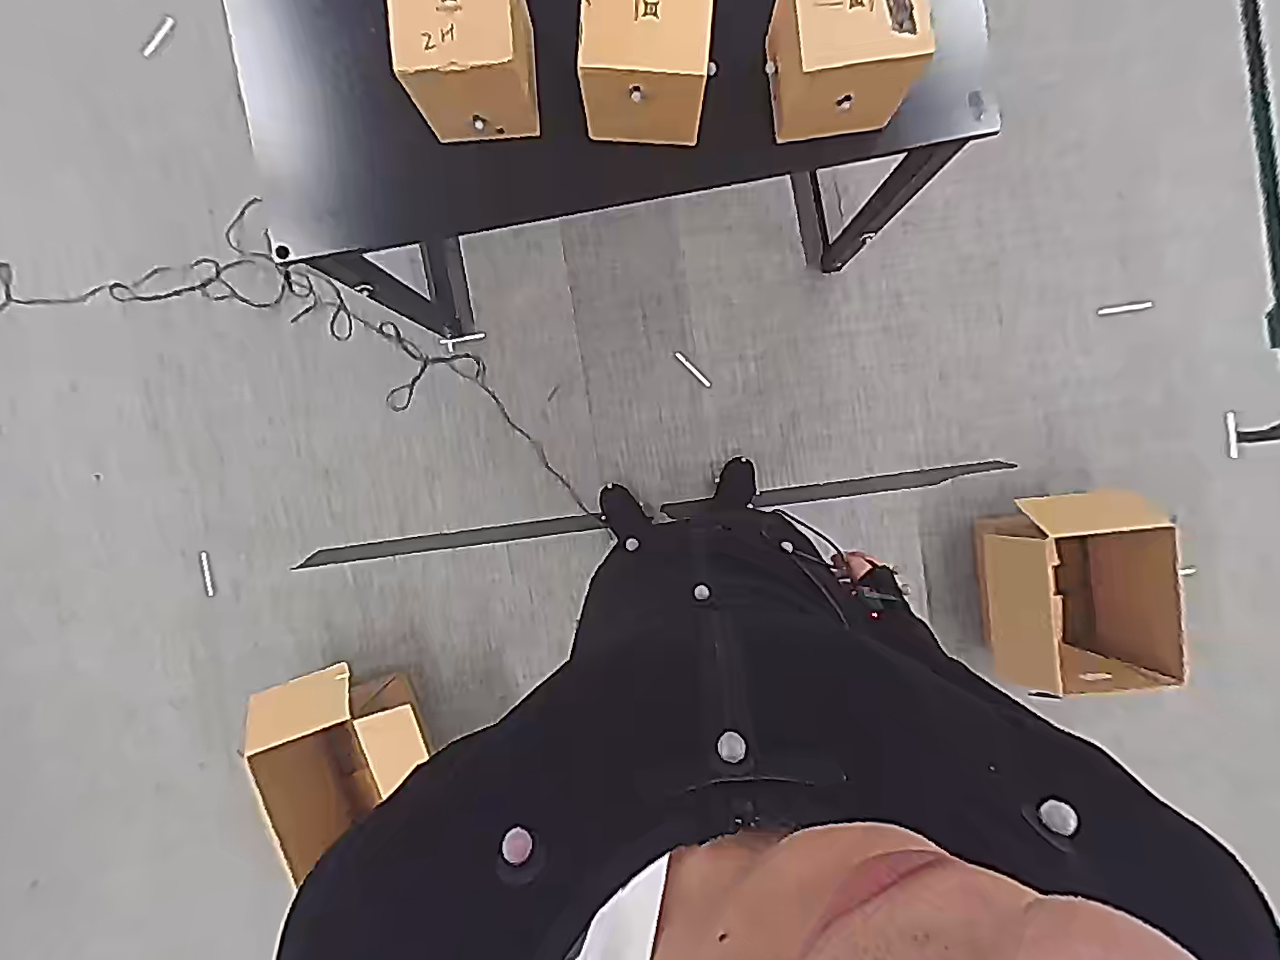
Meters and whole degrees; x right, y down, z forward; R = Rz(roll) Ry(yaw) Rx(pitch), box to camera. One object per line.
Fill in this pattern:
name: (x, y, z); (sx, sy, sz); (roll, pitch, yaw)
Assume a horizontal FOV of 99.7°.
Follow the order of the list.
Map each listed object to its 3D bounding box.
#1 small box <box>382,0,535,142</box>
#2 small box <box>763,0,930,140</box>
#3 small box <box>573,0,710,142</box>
small box: (-0.256, -0.636, 0.792); (0.168, 0.176, 0.179); (-3, 93, 3)
small box: (0.286, -0.629, 0.781); (0.179, 0.176, 0.168); (-7, 92, 3)
small box: (0.006, -0.624, 0.789); (0.179, 0.176, 0.168); (4, 92, 3)
